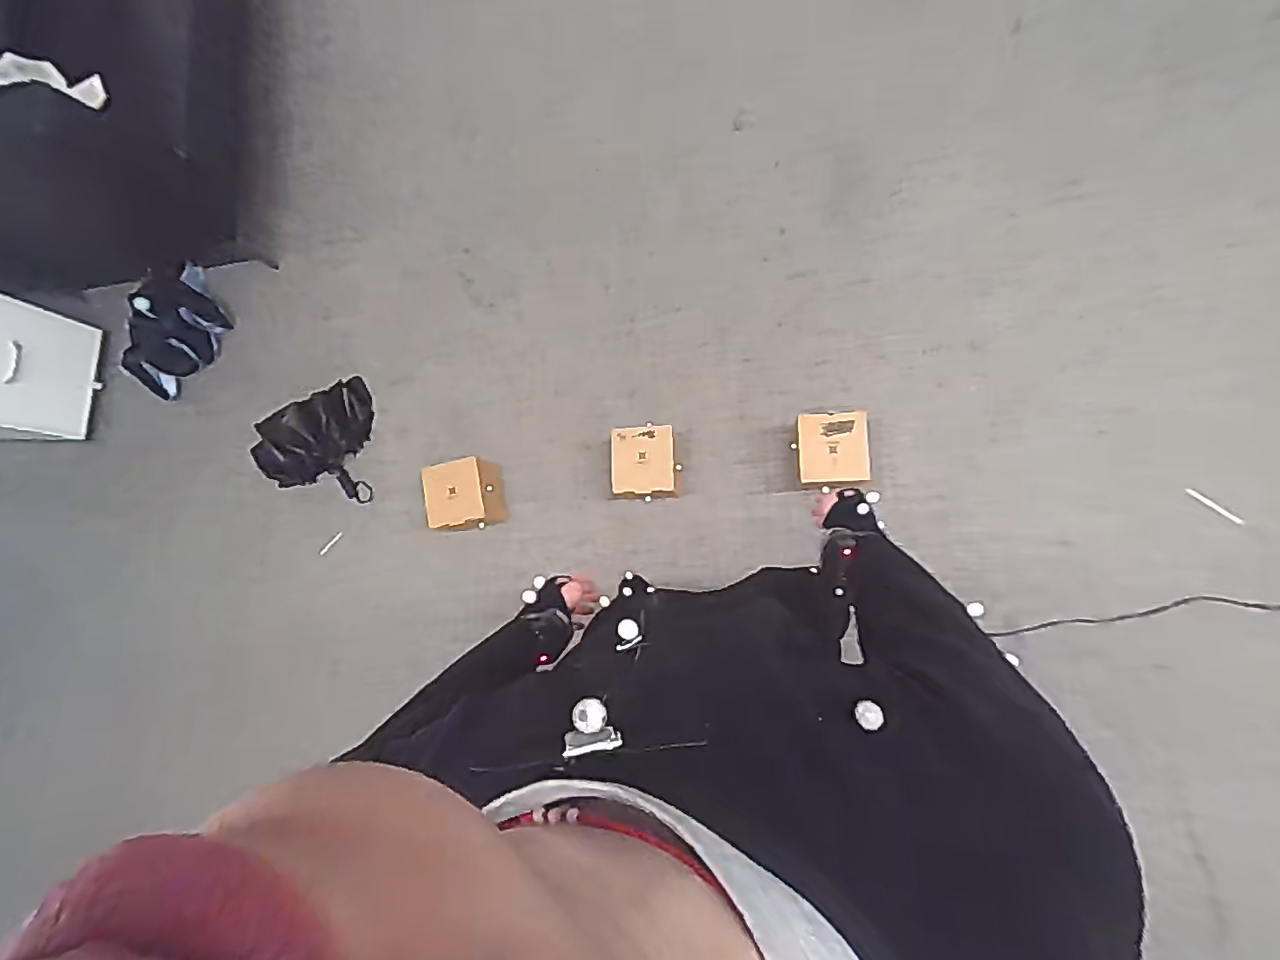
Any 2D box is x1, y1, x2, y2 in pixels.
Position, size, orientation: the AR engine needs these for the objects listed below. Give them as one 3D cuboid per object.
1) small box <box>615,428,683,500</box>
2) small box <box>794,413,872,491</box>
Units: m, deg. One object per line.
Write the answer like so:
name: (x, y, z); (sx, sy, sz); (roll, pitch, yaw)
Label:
small box: (0.028, -0.037, 1.494); (0.168, 0.176, 0.179); (-3, 82, 10)
small box: (0.496, -0.068, 1.413); (0.168, 0.176, 0.179); (-3, 83, 11)
